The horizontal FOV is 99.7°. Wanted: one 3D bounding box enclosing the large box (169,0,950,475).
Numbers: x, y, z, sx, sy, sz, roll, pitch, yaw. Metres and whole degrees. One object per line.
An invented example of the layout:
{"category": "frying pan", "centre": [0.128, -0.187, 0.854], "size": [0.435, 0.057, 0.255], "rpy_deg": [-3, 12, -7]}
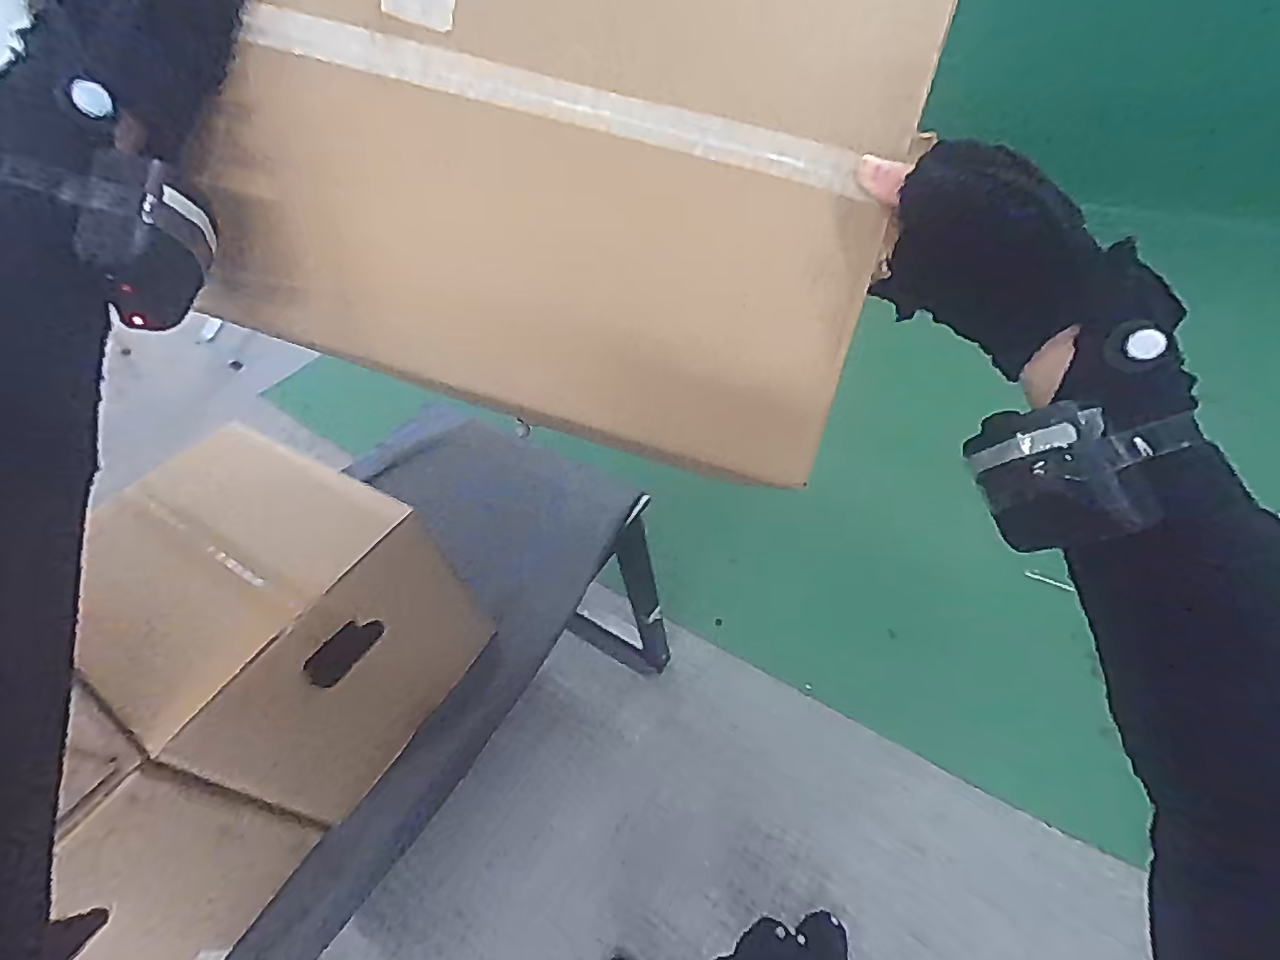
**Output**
{"category": "large box", "centre": [-0.041, -0.202, 0.455], "size": [0.408, 0.320, 0.320], "rpy_deg": [18, 91, 5]}
